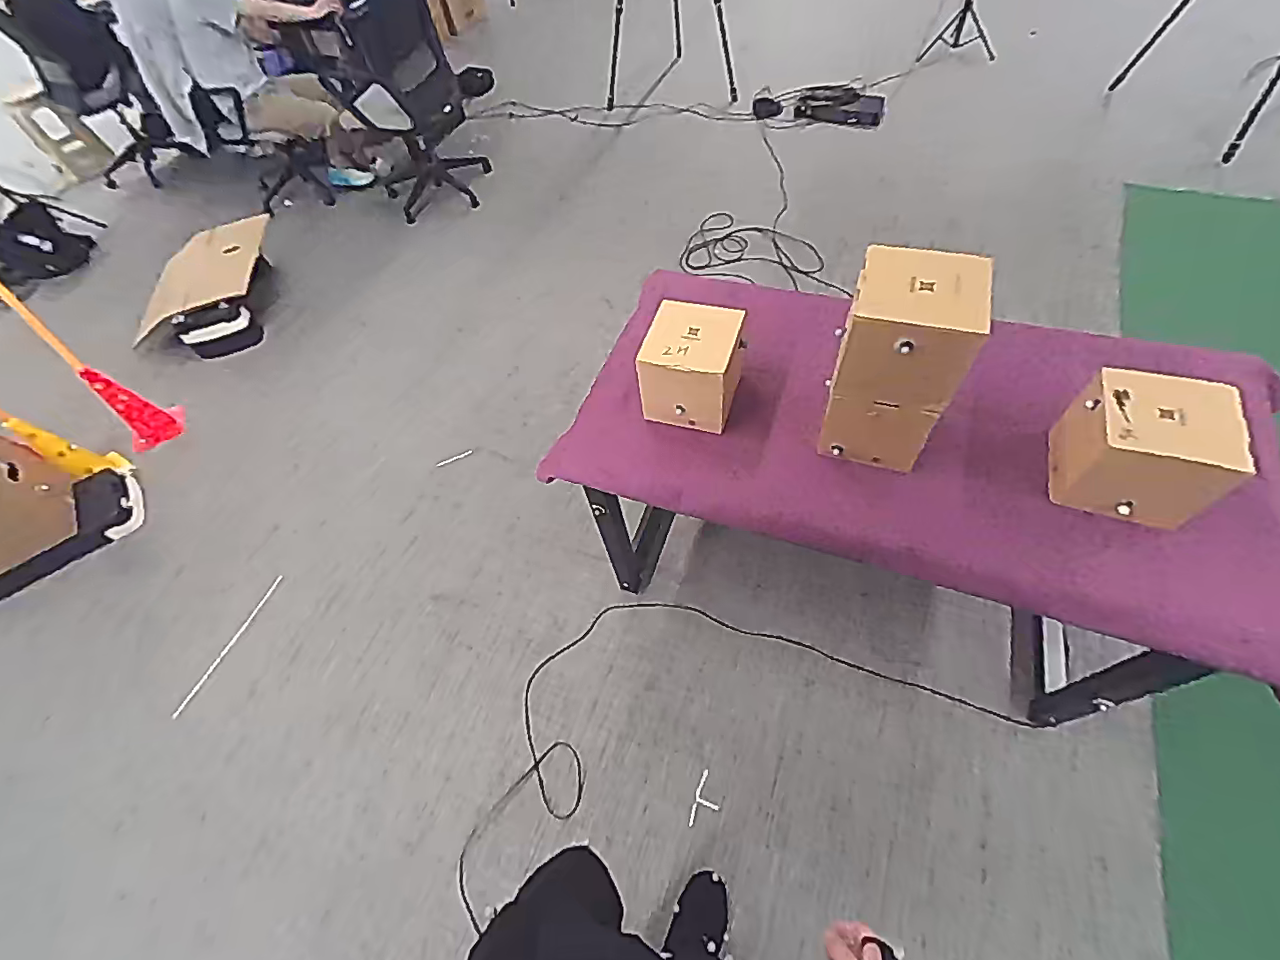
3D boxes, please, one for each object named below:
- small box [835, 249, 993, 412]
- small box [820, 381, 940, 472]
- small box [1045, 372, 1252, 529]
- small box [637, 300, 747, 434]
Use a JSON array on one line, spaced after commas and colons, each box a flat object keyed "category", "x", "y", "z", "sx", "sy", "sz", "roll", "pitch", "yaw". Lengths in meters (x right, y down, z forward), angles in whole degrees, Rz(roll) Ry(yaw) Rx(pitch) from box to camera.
[{"category": "small box", "x": 0.412, "y": -0.227, "z": 0.834, "sx": 0.179, "sy": 0.176, "sz": 0.168, "roll": 14, "pitch": 60, "yaw": 15}, {"category": "small box", "x": 0.429, "y": -0.139, "z": 0.971, "sx": 0.168, "sy": 0.176, "sz": 0.179, "roll": 14, "pitch": 59, "yaw": 15}, {"category": "small box", "x": 0.792, "y": -0.041, "z": 0.864, "sx": 0.179, "sy": 0.176, "sz": 0.168, "roll": 15, "pitch": 59, "yaw": 16}, {"category": "small box", "x": 0.104, "y": -0.220, "z": 1.061, "sx": 0.168, "sy": 0.176, "sz": 0.179, "roll": 13, "pitch": 59, "yaw": 15}]
